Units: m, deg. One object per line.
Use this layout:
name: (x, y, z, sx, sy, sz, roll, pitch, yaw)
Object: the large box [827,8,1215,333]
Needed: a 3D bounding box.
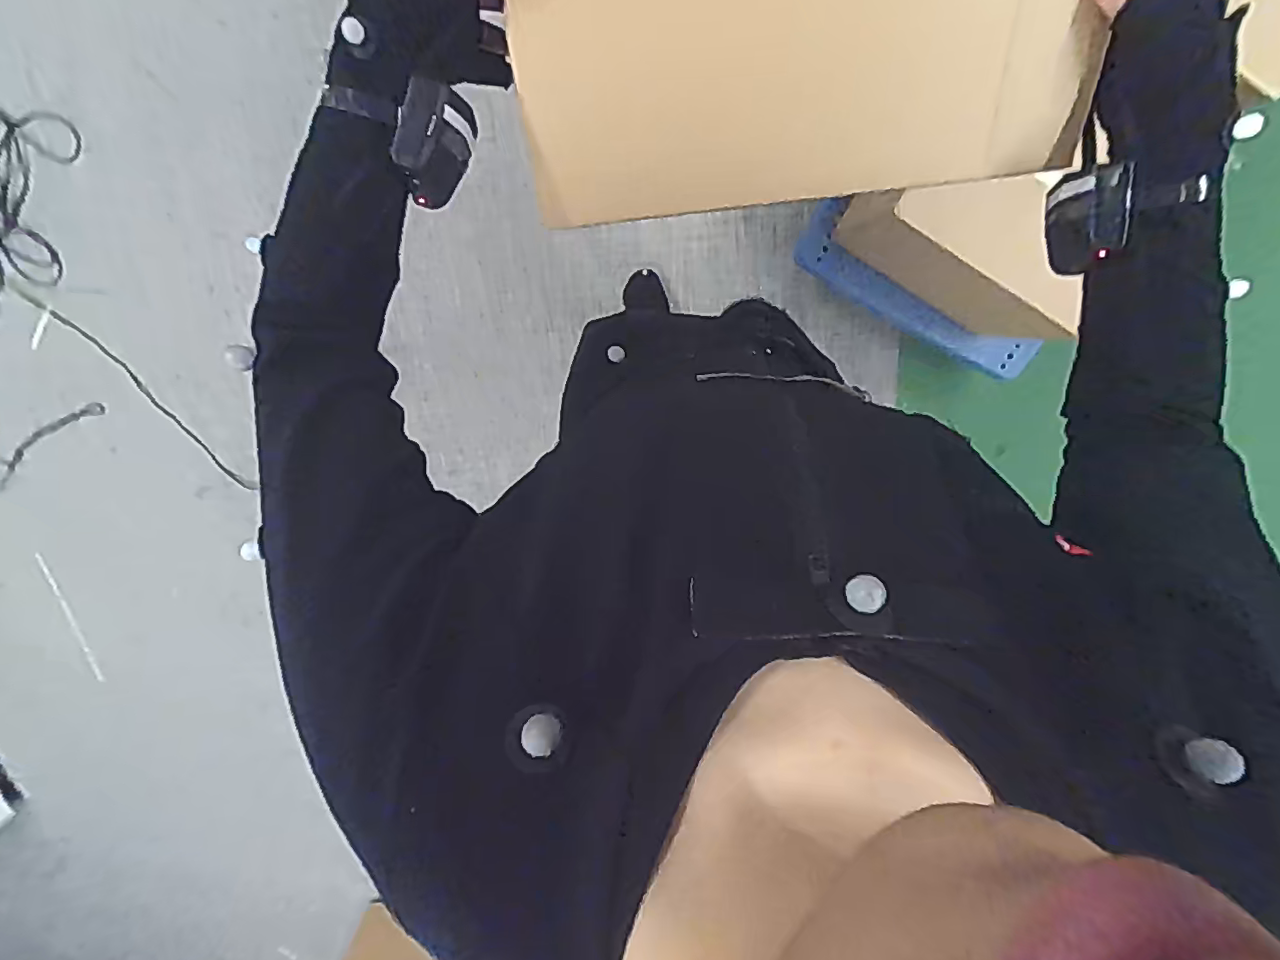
large box: (0.628, -0.498, 0.972, 0.408, 0.320, 0.320, 29, 104, -8)
